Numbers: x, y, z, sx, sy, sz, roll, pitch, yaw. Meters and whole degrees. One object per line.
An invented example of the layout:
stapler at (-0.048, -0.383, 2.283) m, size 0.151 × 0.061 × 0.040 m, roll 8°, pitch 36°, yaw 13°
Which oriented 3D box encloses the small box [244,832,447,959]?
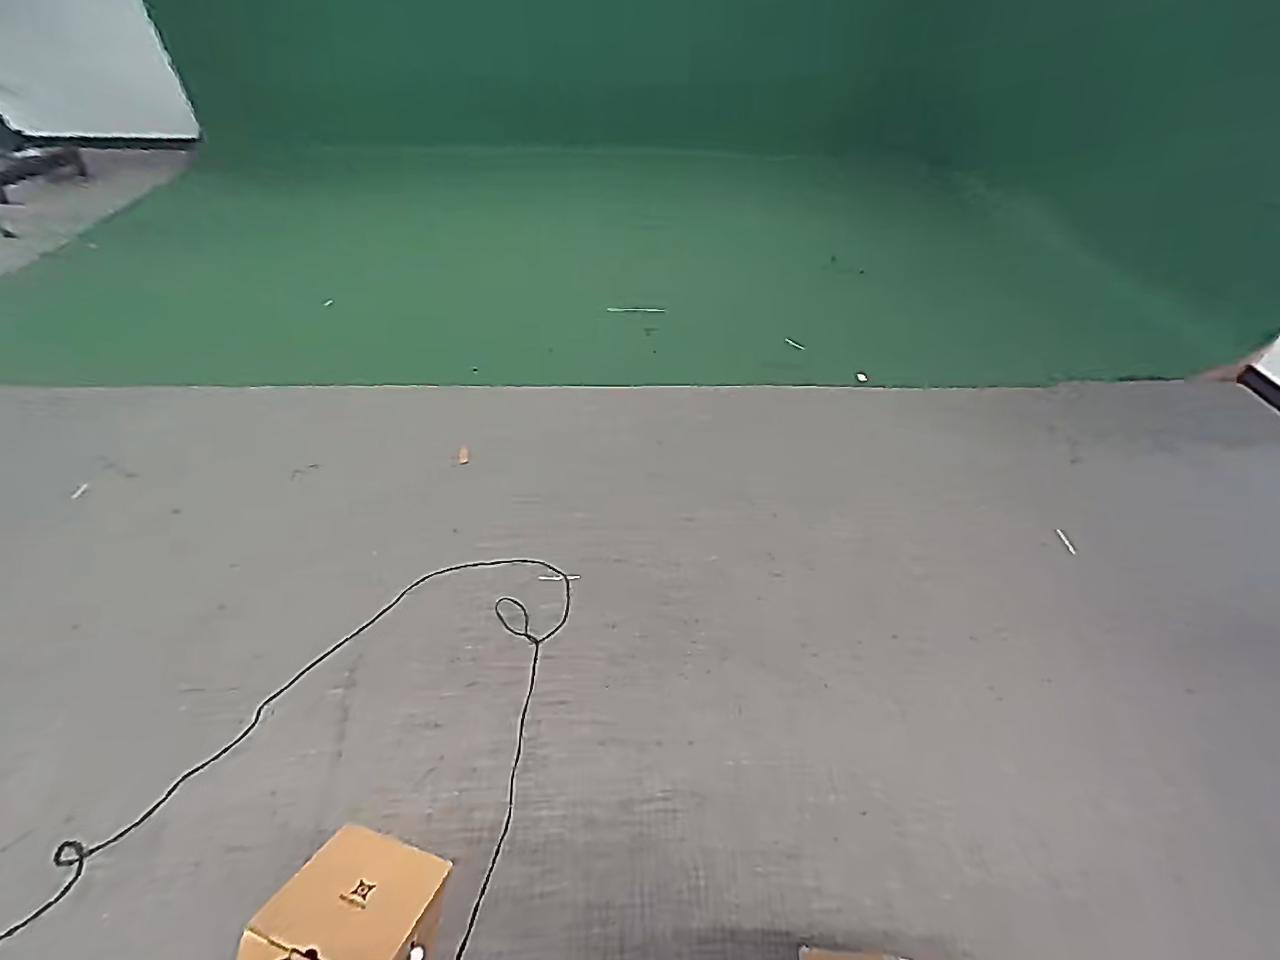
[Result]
small box at (-0.375, 0.600, 0.675) m, size 0.168 × 0.176 × 0.179 m, roll 16°, pitch 5°, yaw 6°
